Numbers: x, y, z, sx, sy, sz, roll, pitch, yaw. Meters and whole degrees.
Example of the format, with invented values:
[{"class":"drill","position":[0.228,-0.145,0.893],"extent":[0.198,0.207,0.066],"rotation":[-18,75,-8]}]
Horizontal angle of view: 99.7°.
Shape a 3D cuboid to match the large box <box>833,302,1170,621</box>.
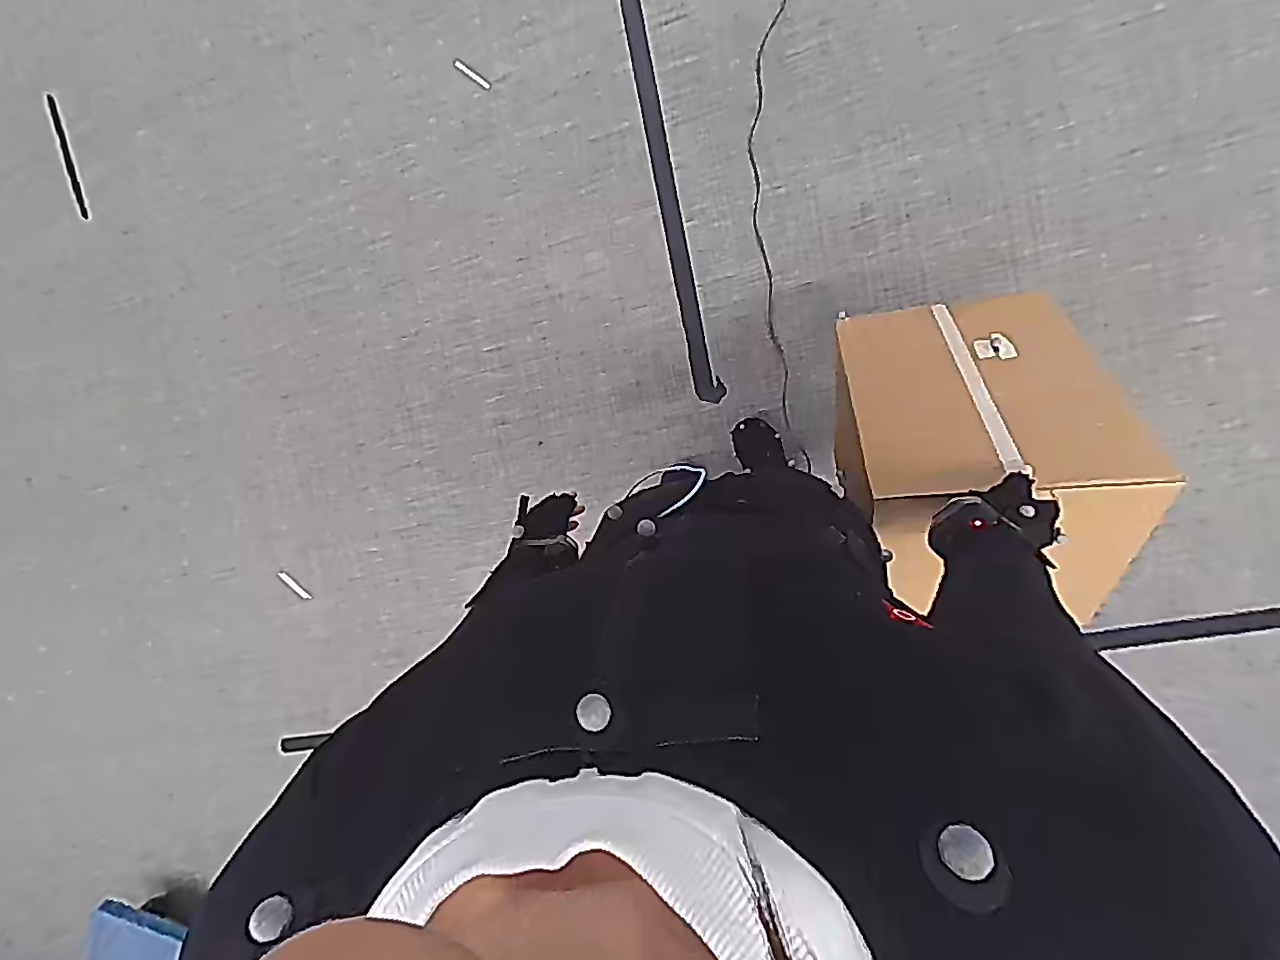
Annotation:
[{"class":"large box","position":[0.496,-0.028,0.867],"extent":[0.320,0.408,0.320],"rotation":[-4,136,14]}]
